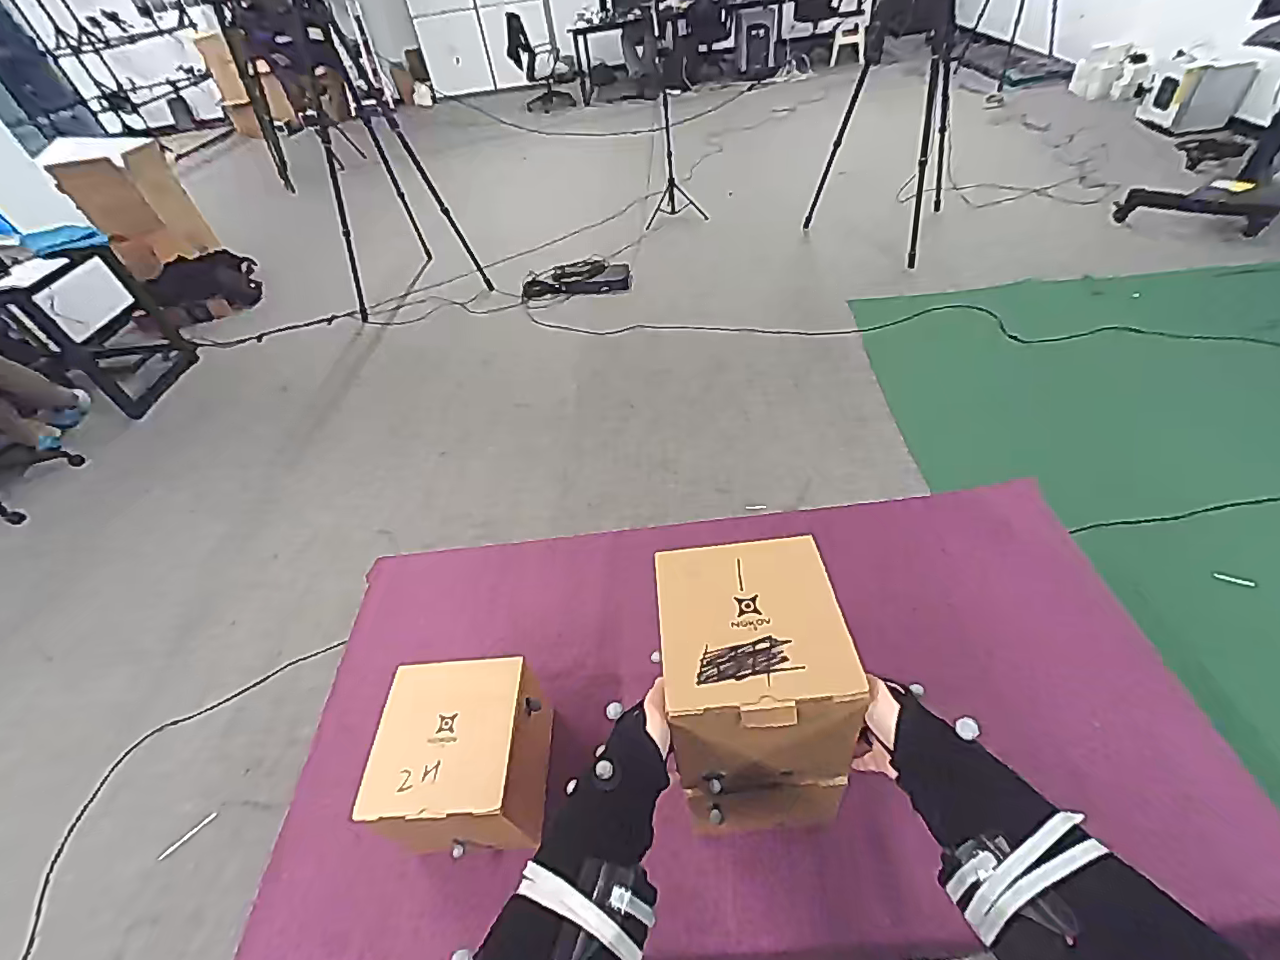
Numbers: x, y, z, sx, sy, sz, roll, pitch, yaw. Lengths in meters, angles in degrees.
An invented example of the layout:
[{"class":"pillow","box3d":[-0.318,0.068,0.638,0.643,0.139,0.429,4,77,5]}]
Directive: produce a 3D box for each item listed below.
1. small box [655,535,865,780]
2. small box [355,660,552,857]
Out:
[{"class":"small box","box3d":[0.110,0.183,0.548,0.168,0.176,0.179,-7,40,3]},{"class":"small box","box3d":[-0.214,0.350,0.680,0.168,0.176,0.179,-6,45,5]}]
